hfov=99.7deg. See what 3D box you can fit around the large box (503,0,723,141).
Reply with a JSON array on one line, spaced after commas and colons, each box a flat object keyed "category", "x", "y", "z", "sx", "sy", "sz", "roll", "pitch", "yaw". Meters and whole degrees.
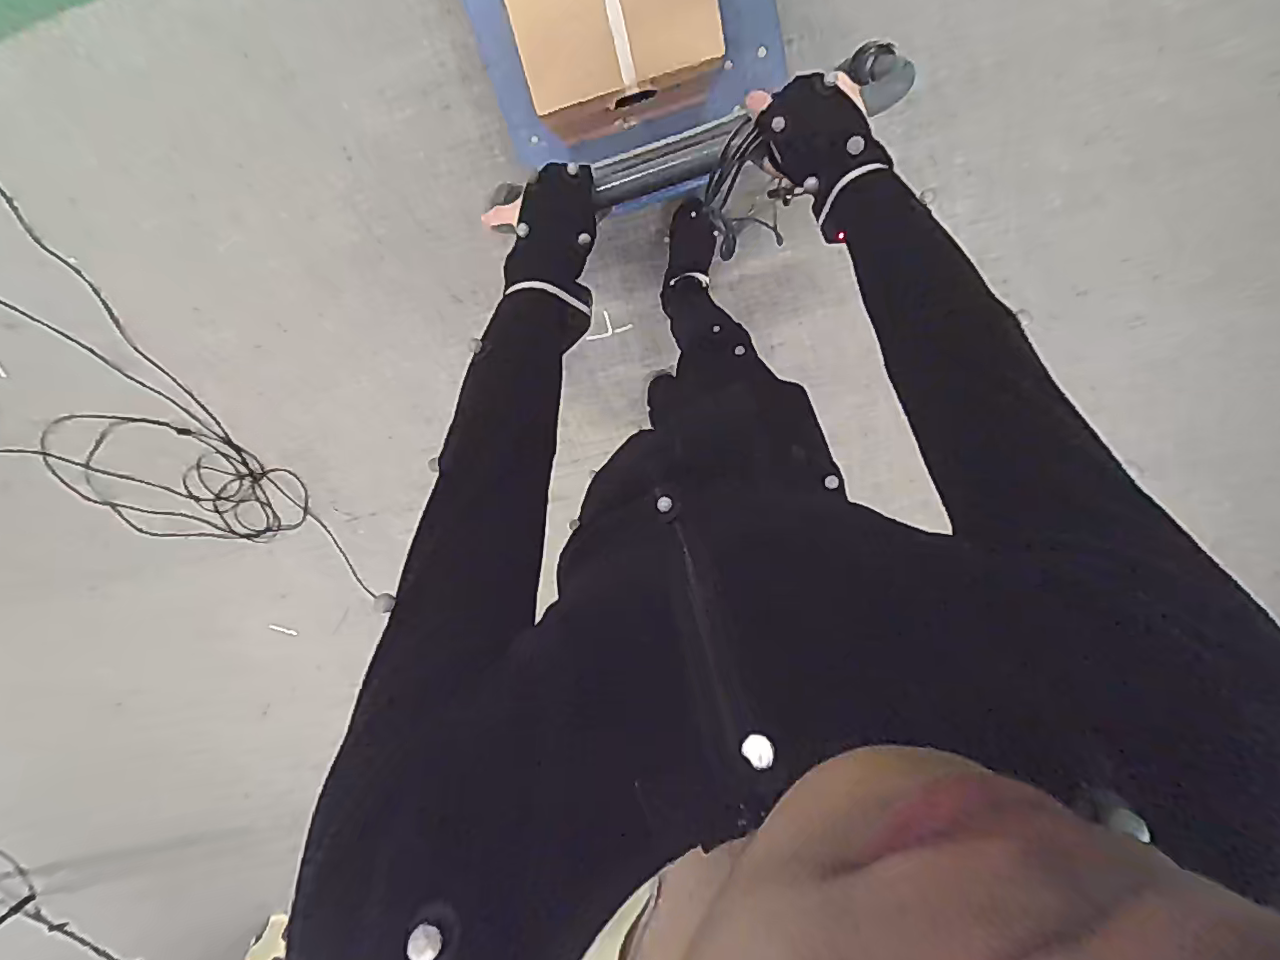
[{"category": "large box", "x": -0.066, "y": -0.858, "z": 0.904, "sx": 0.320, "sy": 0.320, "sz": 0.408, "roll": -13, "pitch": 113, "yaw": 7}]
